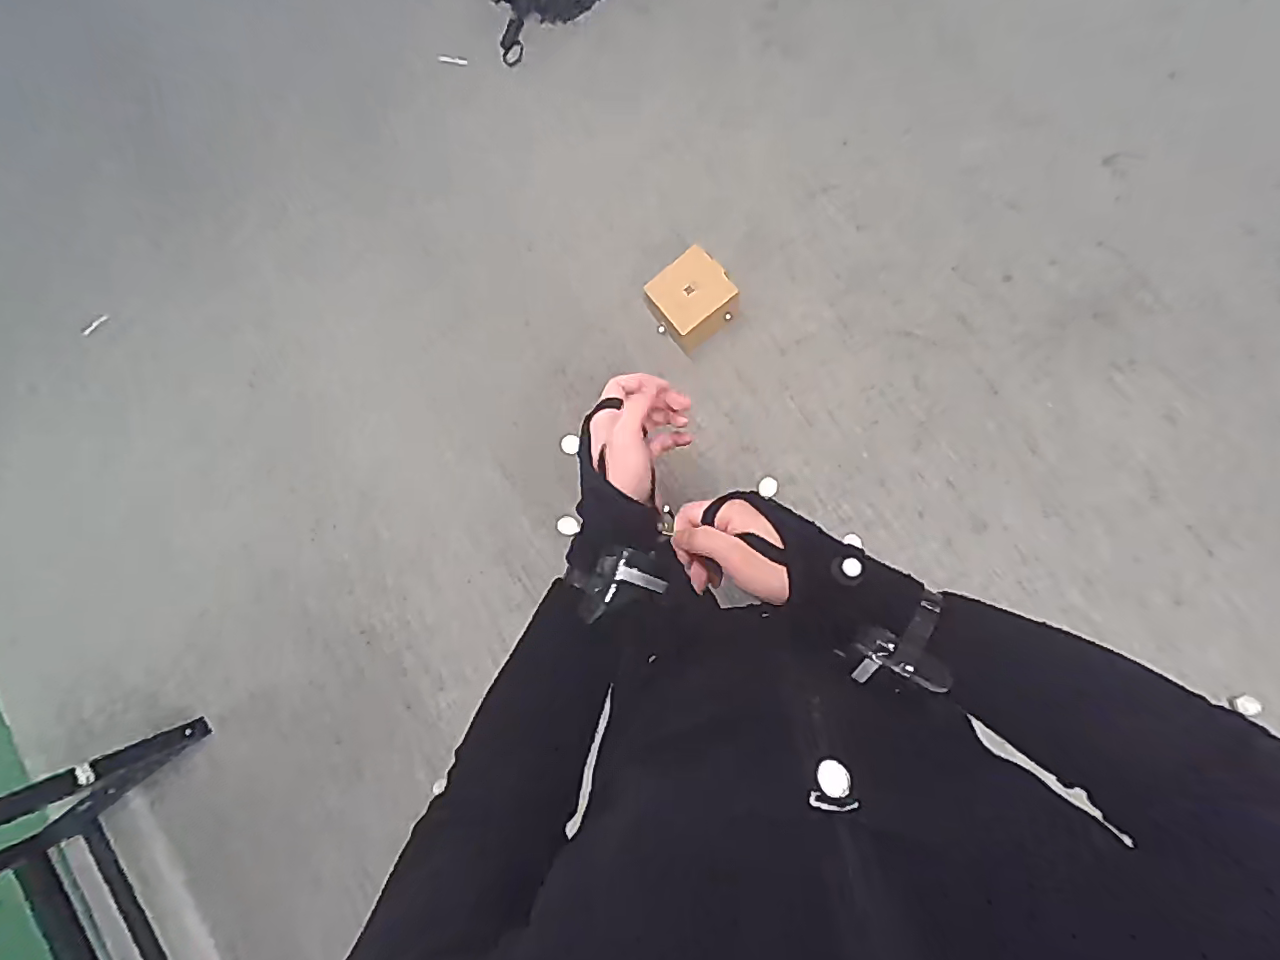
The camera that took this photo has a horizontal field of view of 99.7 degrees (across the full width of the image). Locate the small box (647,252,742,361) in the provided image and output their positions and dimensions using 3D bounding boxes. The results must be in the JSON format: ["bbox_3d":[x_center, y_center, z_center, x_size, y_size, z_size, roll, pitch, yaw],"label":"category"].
[{"bbox_3d":[0.142,-0.437,1.388,0.179,0.176,0.168,-39,80,5],"label":"small box"}]
